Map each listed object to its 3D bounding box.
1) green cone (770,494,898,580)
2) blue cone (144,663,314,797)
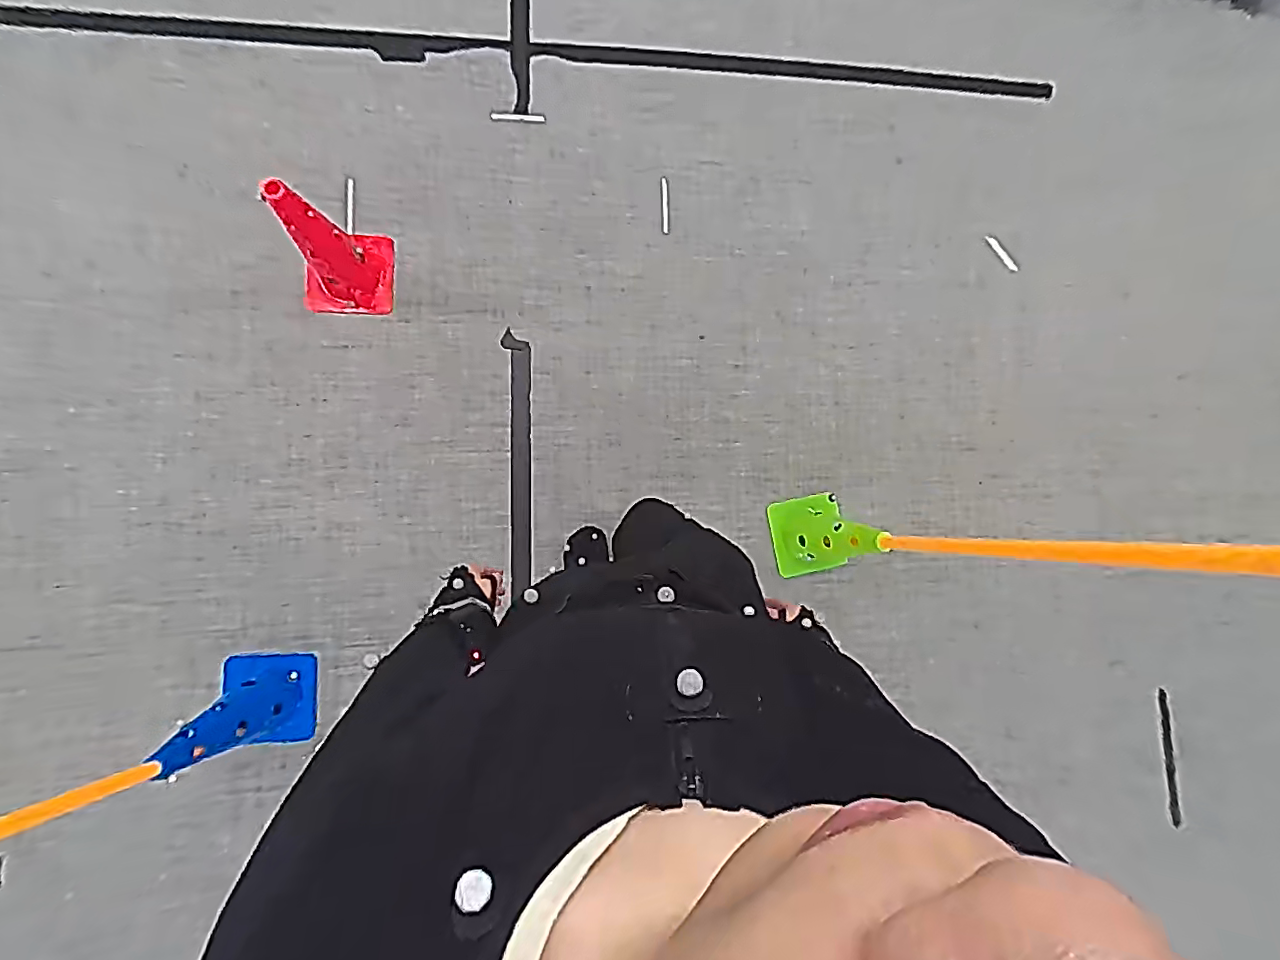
[{"bbox_3d":[0.475,0.143,1.267,0.200,0.368,0.202,-12,89,-8],"label":"green cone"},{"bbox_3d":[-0.827,0.507,1.076,0.193,0.380,0.192,2,86,-7],"label":"blue cone"}]
